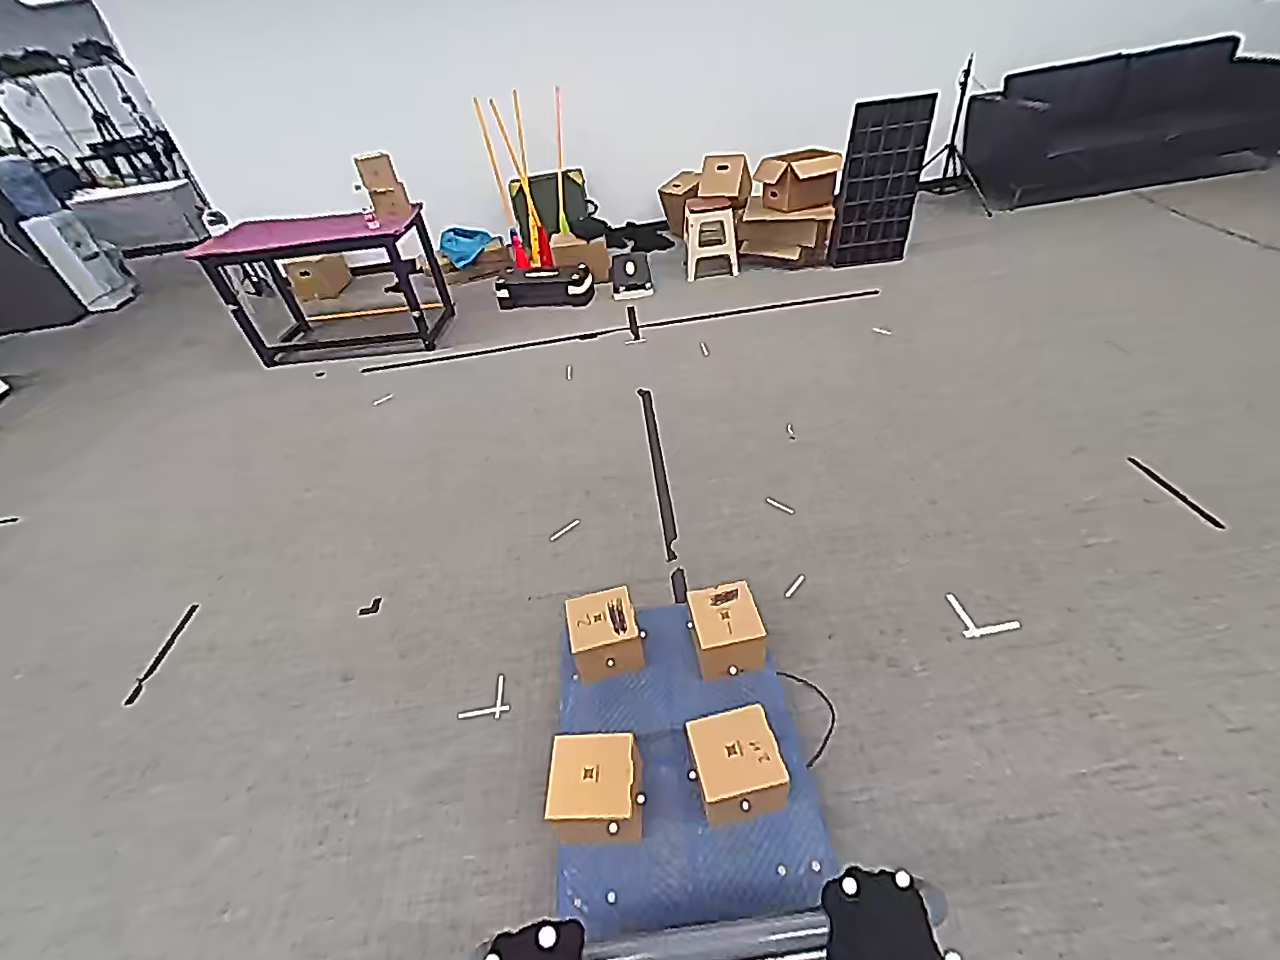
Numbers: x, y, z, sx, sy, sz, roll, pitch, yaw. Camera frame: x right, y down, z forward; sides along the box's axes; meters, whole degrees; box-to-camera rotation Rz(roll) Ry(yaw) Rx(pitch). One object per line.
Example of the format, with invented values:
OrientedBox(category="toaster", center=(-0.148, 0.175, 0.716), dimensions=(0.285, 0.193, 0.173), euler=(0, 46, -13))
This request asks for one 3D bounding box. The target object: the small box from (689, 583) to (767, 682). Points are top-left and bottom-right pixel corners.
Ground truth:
OrientedBox(category="small box", center=(0.228, 0.406, 1.441), dimensions=(0.168, 0.176, 0.179), euler=(-11, 42, -3))

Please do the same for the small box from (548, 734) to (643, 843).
OrientedBox(category="small box", center=(-0.090, 0.679, 1.187), dimensions=(0.179, 0.176, 0.168), euler=(-4, 41, 3))

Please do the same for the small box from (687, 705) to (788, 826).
OrientedBox(category="small box", center=(0.212, 0.630, 1.188), dimensions=(0.179, 0.176, 0.168), euler=(-13, 41, -4))
